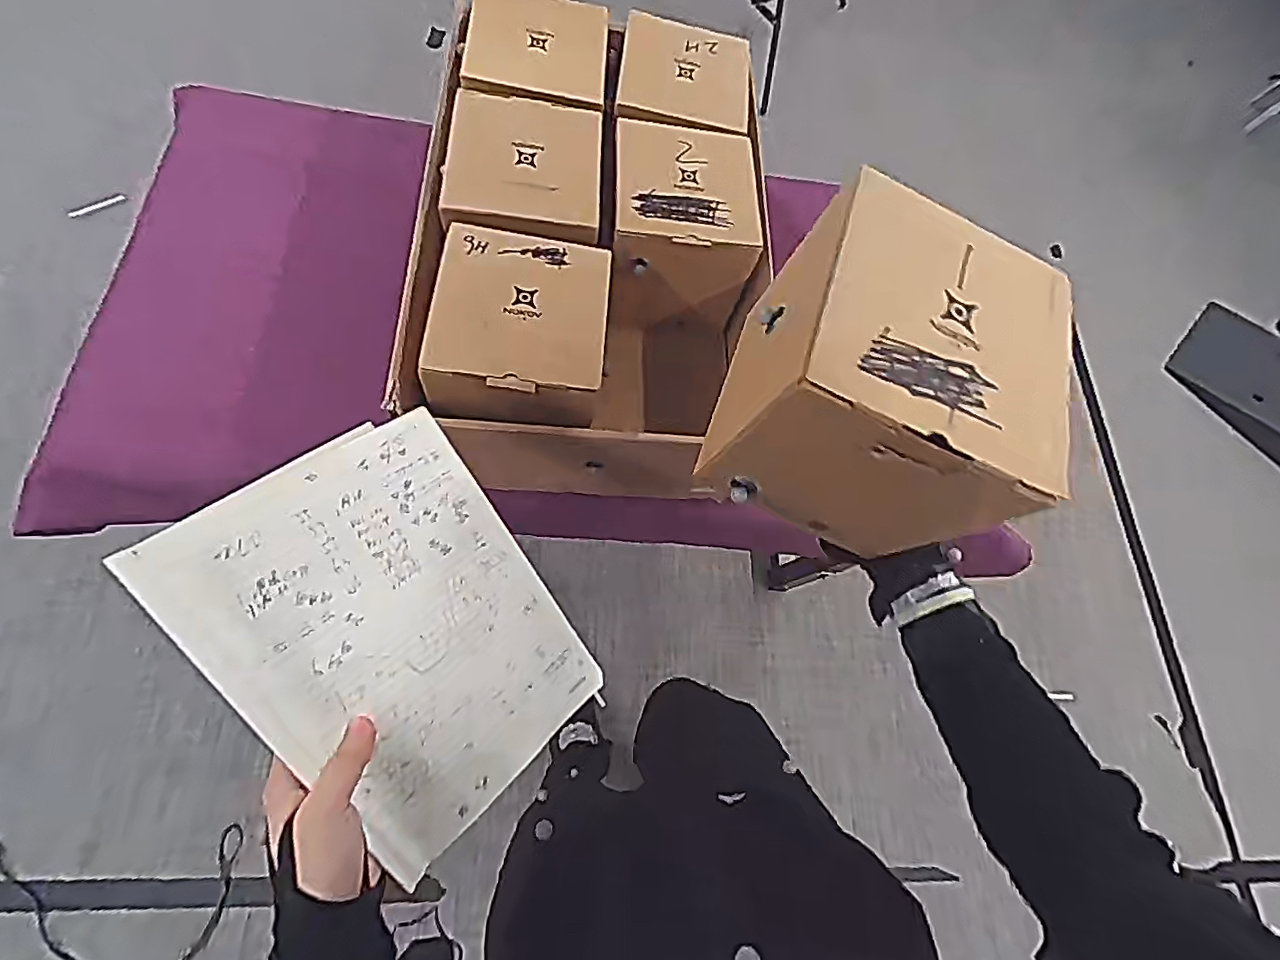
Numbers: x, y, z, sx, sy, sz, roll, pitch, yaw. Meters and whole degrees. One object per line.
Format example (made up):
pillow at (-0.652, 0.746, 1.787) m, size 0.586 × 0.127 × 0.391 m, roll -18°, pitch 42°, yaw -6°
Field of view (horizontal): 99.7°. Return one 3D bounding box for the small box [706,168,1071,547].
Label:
small box at (0.162, -0.068, 0.393) m, size 0.168 × 0.176 × 0.179 m, roll 23°, pitch 67°, yaw -6°
